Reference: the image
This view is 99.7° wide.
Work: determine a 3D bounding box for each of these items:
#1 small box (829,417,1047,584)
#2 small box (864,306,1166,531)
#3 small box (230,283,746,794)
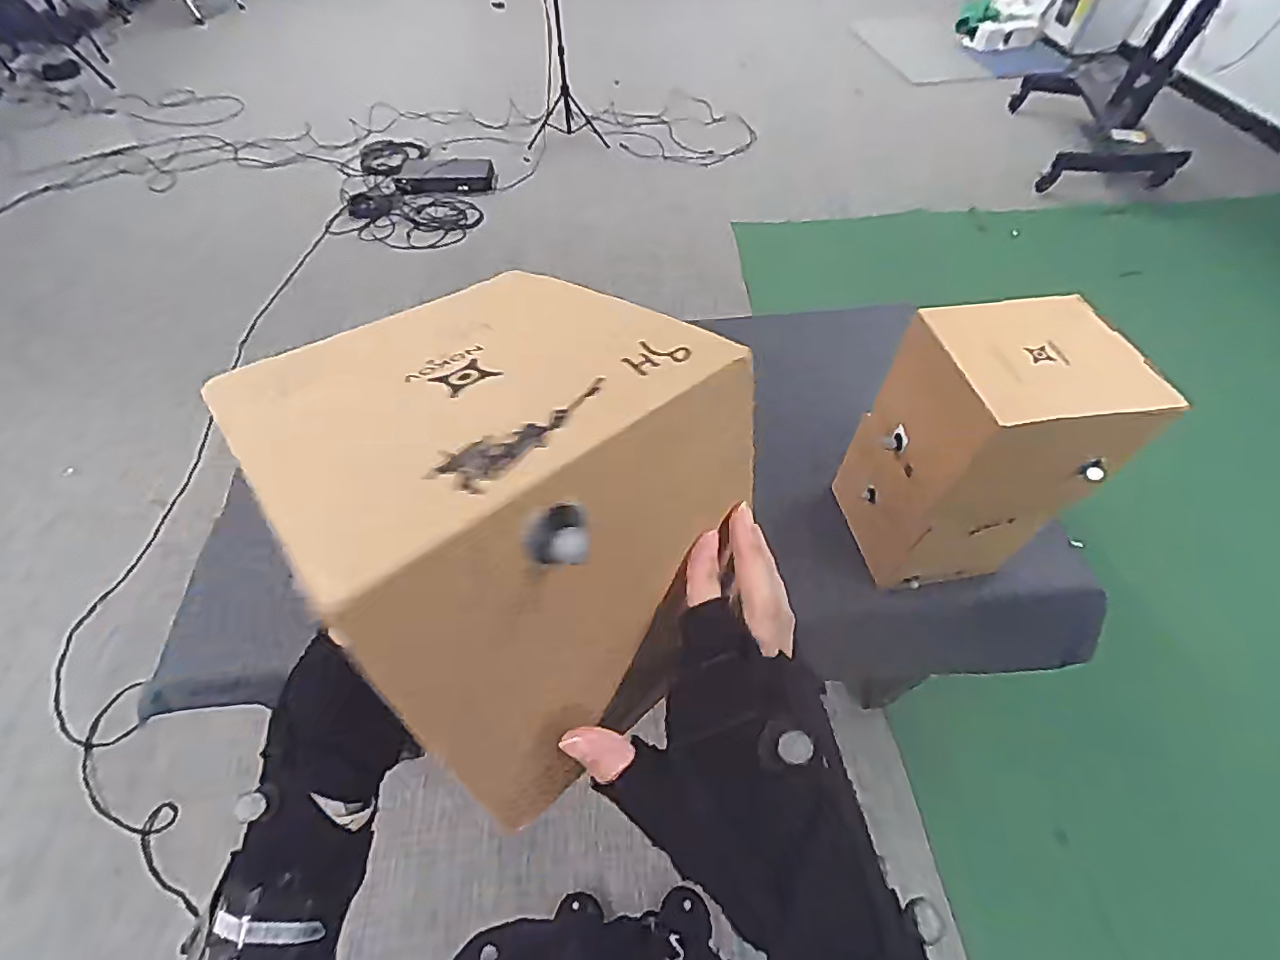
[{"bbox_3d":[0.376,0.026,0.721,0.168,0.176,0.179,-8,53,-5],"label":"small box"},{"bbox_3d":[0.375,-0.062,0.585,0.179,0.176,0.168,-7,53,-3],"label":"small box"},{"bbox_3d":[-0.064,0.018,0.285,0.168,0.176,0.179,-35,47,-29],"label":"small box"}]
